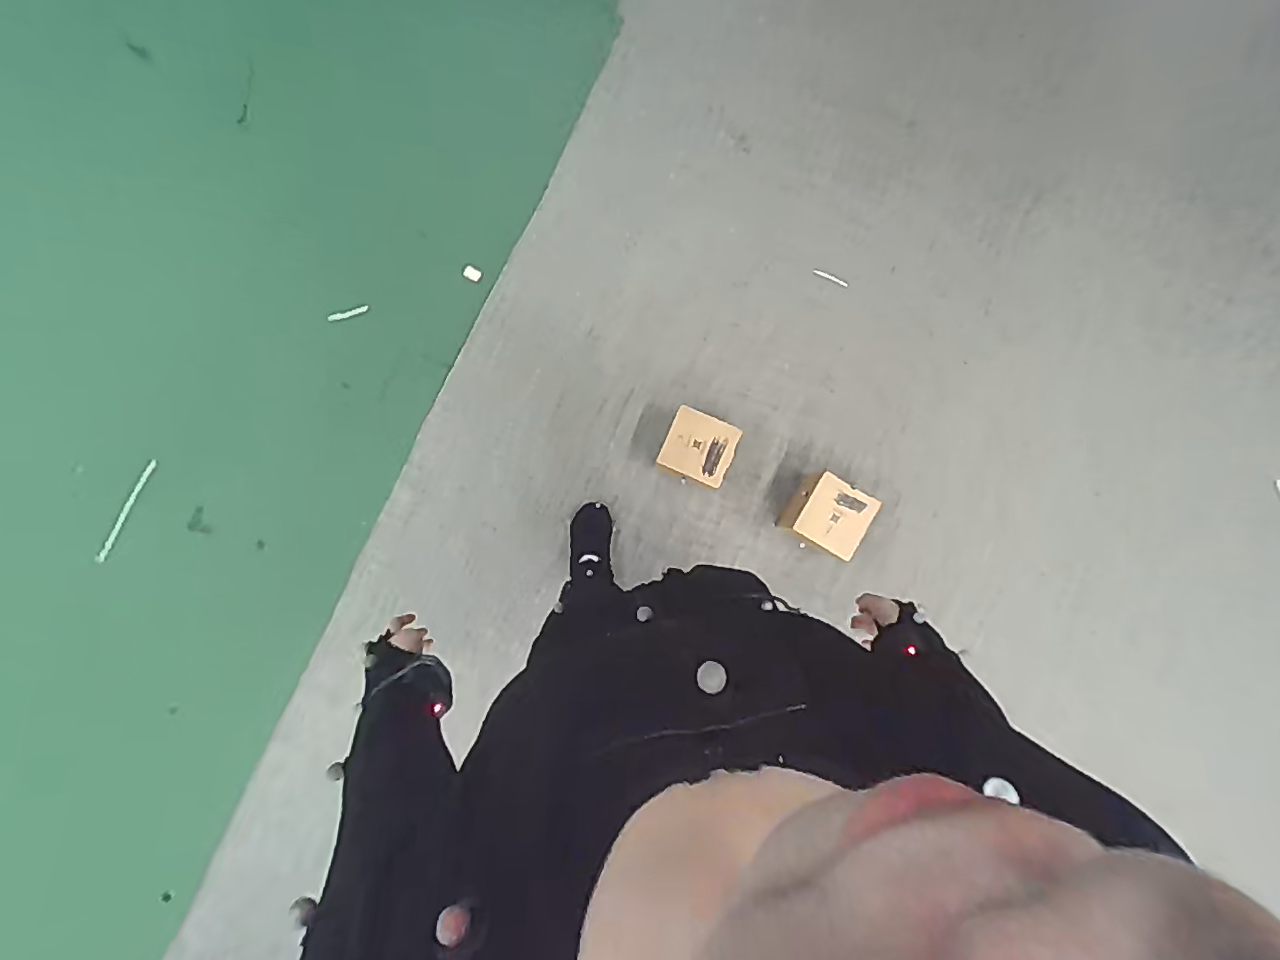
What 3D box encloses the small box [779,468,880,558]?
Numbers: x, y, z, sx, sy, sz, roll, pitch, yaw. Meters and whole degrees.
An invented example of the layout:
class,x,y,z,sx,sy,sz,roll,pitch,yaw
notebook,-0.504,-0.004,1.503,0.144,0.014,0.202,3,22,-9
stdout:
class,x,y,z,sx,sy,sz,roll,pitch,yaw
small box,0.492,0.086,1.436,0.168,0.176,0.179,31,87,2
